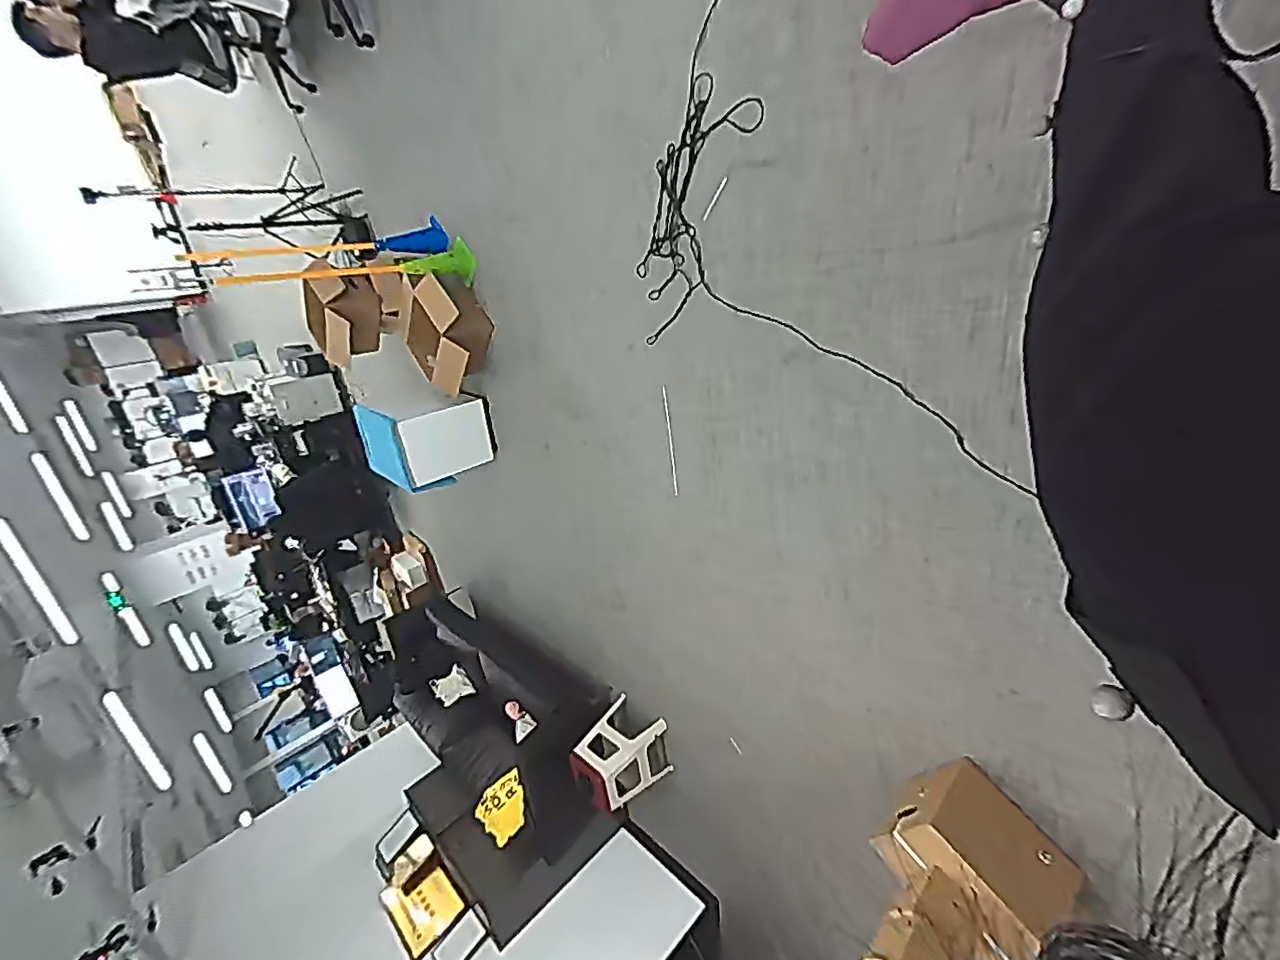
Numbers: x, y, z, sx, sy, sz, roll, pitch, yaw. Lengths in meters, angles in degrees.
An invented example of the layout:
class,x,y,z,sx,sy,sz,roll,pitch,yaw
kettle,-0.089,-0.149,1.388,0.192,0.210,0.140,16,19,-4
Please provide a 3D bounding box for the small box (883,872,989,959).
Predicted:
class,x,y,z,sx,sy,sz,roll,pitch,yaw
small box,0.847,1.268,1.550,0.179,0.176,0.168,44,139,25

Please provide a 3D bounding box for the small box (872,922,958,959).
class,x,y,z,sx,sy,sz,roll,pitch,yaw
small box,0.740,1.319,1.435,0.179,0.176,0.168,46,139,21
